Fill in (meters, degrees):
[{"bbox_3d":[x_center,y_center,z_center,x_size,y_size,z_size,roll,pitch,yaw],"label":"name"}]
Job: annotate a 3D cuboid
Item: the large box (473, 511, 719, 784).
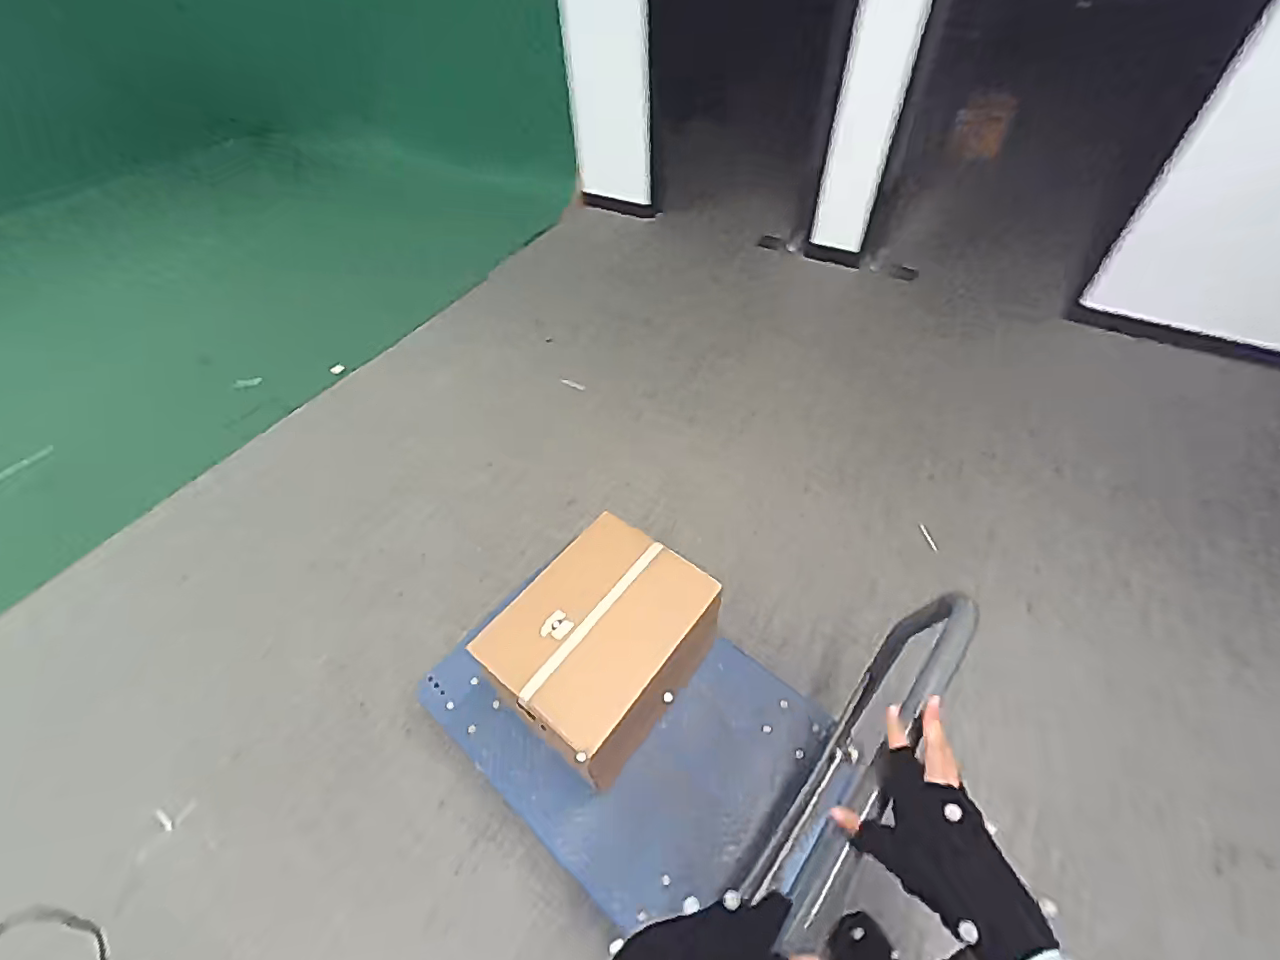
[{"bbox_3d":[-0.072,0.351,1.161,0.320,0.320,0.408,30,59,25],"label":"large box"}]
